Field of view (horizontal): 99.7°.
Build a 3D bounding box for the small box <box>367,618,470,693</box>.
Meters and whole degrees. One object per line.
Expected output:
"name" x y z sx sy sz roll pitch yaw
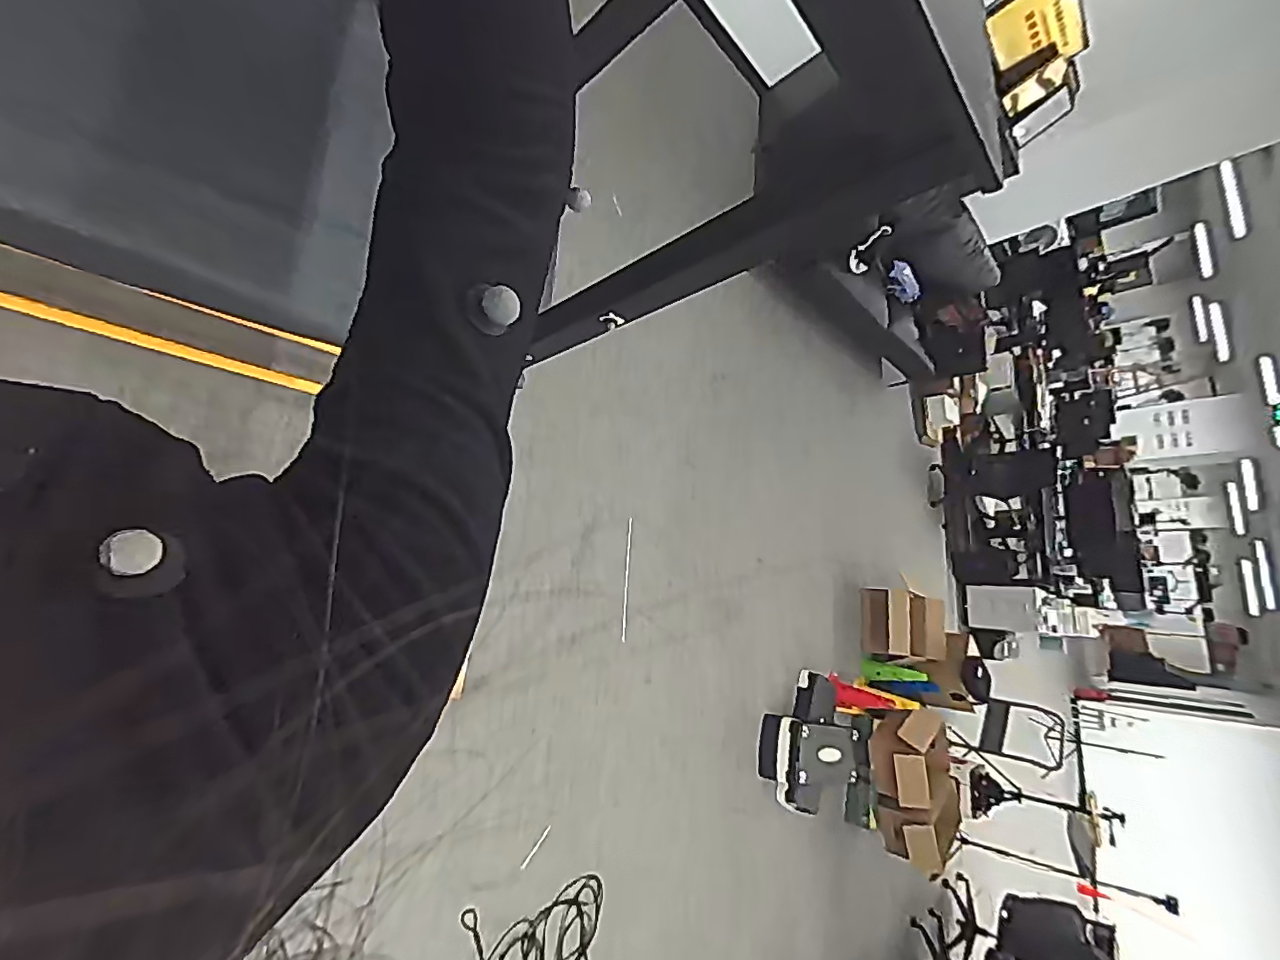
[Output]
"small box" -0.587 0.462 1.433 0.179 0.176 0.168 24 67 -41
